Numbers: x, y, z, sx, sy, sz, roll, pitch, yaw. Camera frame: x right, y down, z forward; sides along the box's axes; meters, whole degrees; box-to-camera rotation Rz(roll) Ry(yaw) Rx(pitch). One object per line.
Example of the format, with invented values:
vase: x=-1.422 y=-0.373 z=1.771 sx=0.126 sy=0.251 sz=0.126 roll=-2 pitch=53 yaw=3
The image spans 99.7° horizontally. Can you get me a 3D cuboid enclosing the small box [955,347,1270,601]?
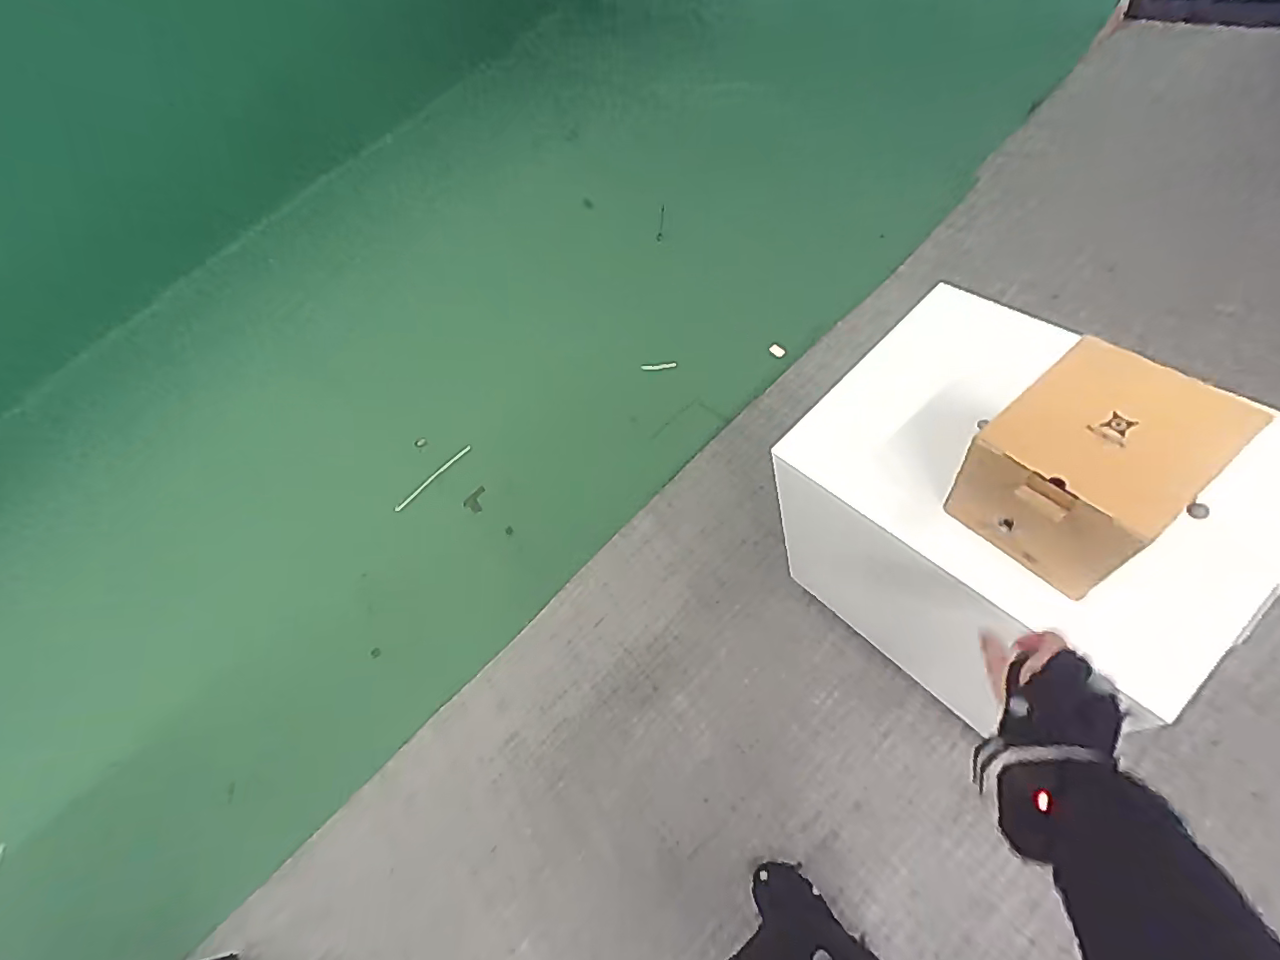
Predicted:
small box: x=0.479 y=-0.001 z=0.586 sx=0.179 sy=0.176 sz=0.168 roll=-40 pitch=57 yaw=-7
